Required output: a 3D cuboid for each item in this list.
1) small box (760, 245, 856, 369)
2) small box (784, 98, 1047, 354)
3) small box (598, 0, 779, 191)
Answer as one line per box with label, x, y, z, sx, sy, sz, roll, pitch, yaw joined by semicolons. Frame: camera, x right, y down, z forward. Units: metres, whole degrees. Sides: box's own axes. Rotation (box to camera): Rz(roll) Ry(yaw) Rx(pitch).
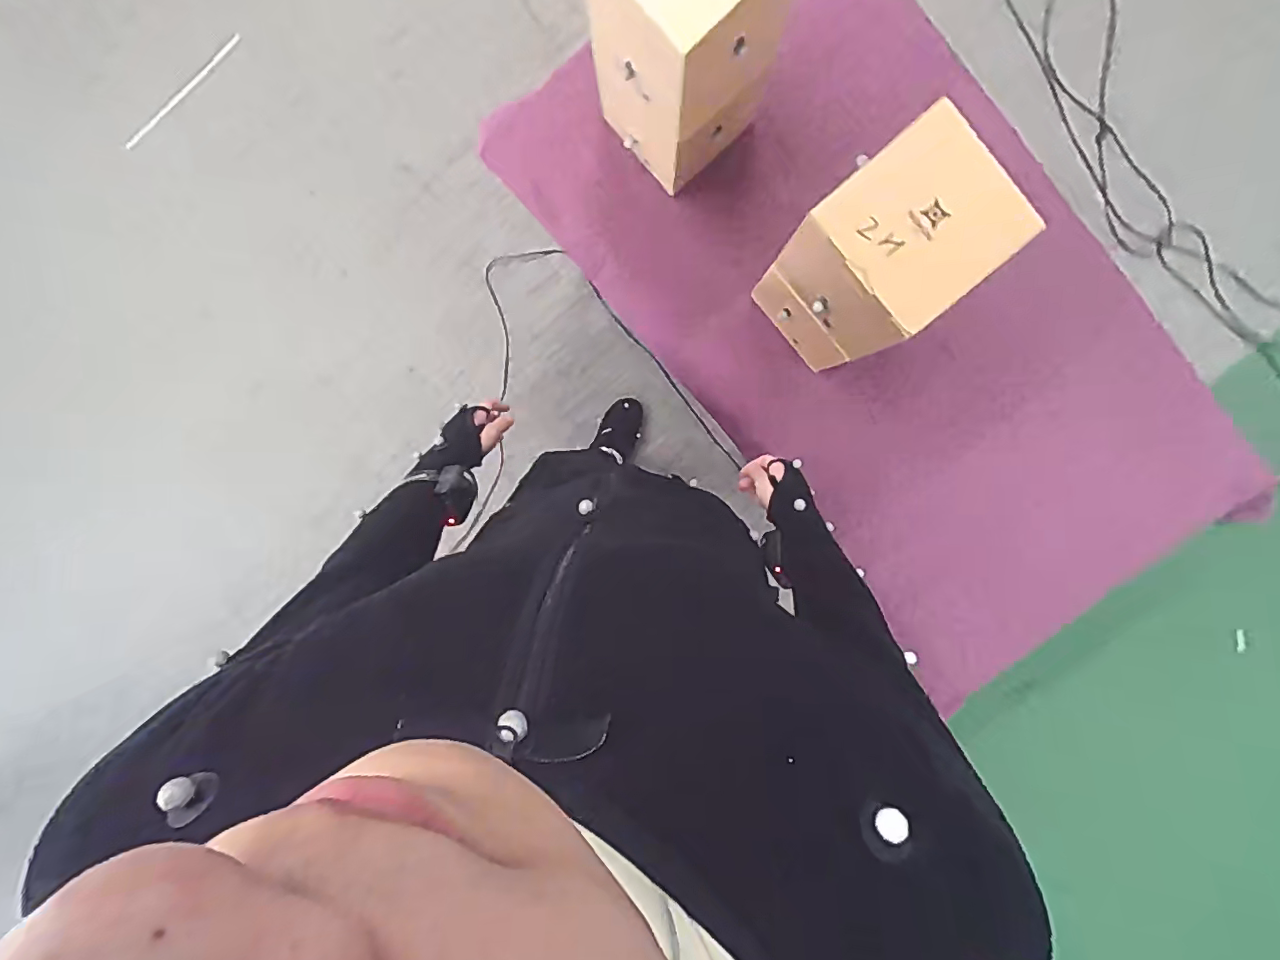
small box;0.293;-0.283;0.787;0.179;0.176;0.168;-41;93;4
small box;0.295;-0.271;0.623;0.179;0.176;0.168;-40;92;4
small box;0.061;-0.558;0.763;0.179;0.176;0.168;-41;93;5
